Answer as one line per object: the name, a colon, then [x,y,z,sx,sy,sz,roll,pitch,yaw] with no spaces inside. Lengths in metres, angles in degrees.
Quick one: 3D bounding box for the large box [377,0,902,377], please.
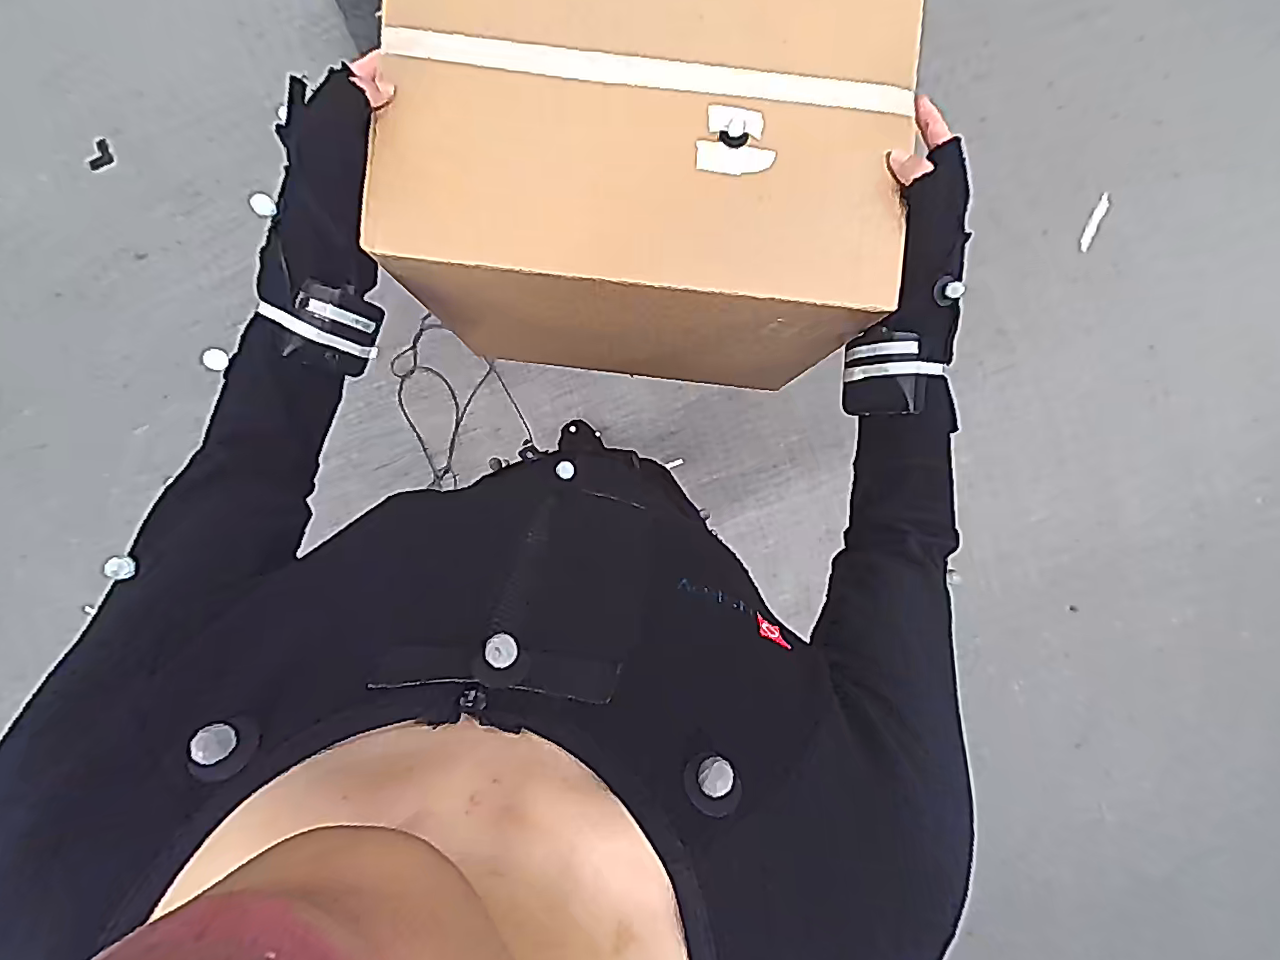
large box: [0.000,-0.308,0.574,0.408,0.320,0.320,6,88,-2]
